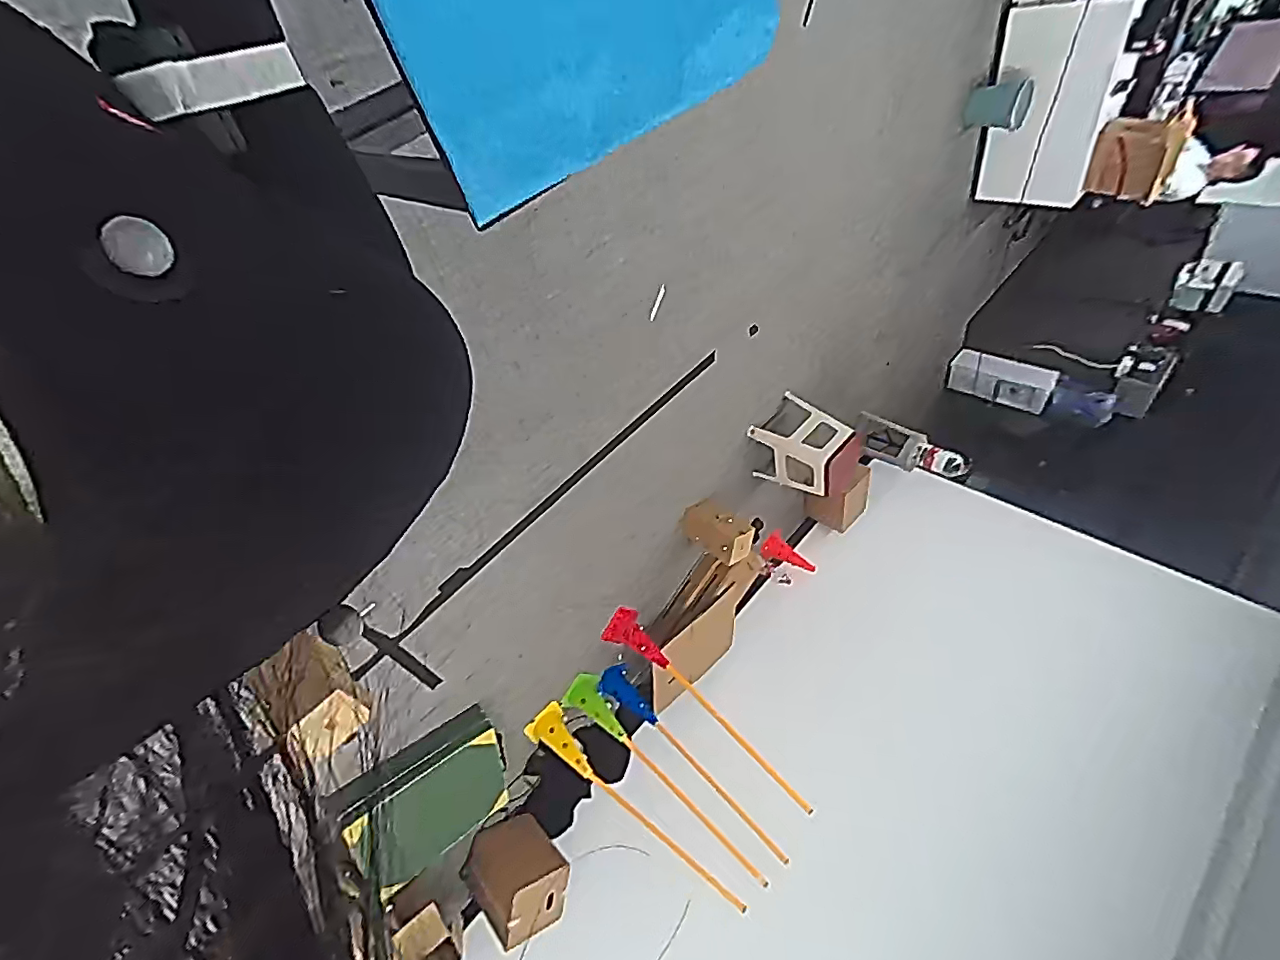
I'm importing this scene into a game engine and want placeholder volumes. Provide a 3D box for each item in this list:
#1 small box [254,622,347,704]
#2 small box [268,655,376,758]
[{"bbox_3d":[-0.989,0.557,1.581,0.179,0.176,0.168,-40,139,-22],"label":"small box"},{"bbox_3d":[-0.872,0.614,1.483,0.168,0.176,0.179,-42,138,-23],"label":"small box"}]
